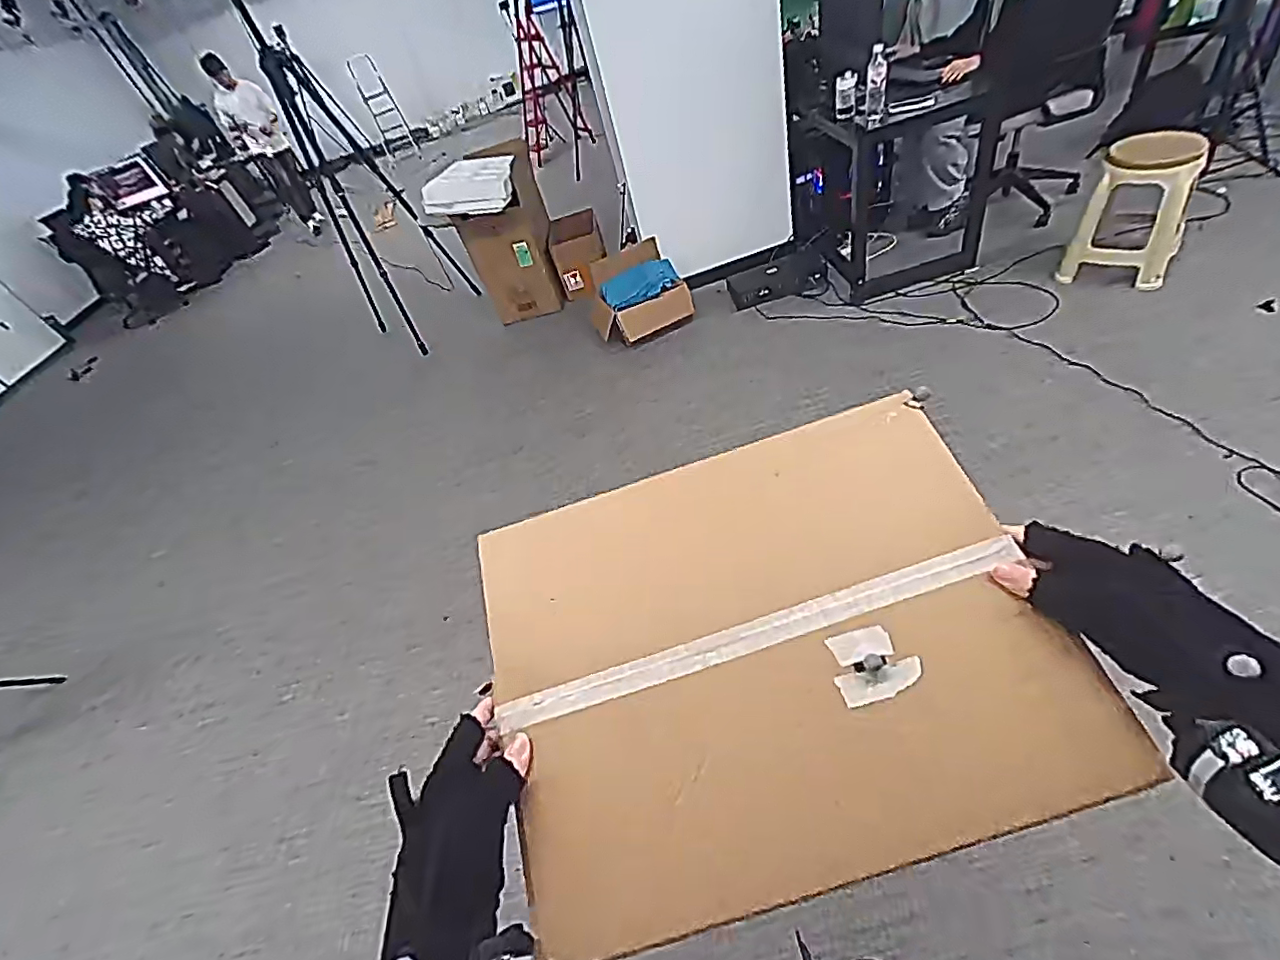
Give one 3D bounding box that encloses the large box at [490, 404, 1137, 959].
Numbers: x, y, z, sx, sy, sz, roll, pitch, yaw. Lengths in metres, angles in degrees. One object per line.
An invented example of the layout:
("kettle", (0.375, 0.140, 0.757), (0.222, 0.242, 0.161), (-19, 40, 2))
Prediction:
("large box", (0.115, 0.191, 0.547), (0.408, 0.320, 0.320), (-19, 61, 0))
